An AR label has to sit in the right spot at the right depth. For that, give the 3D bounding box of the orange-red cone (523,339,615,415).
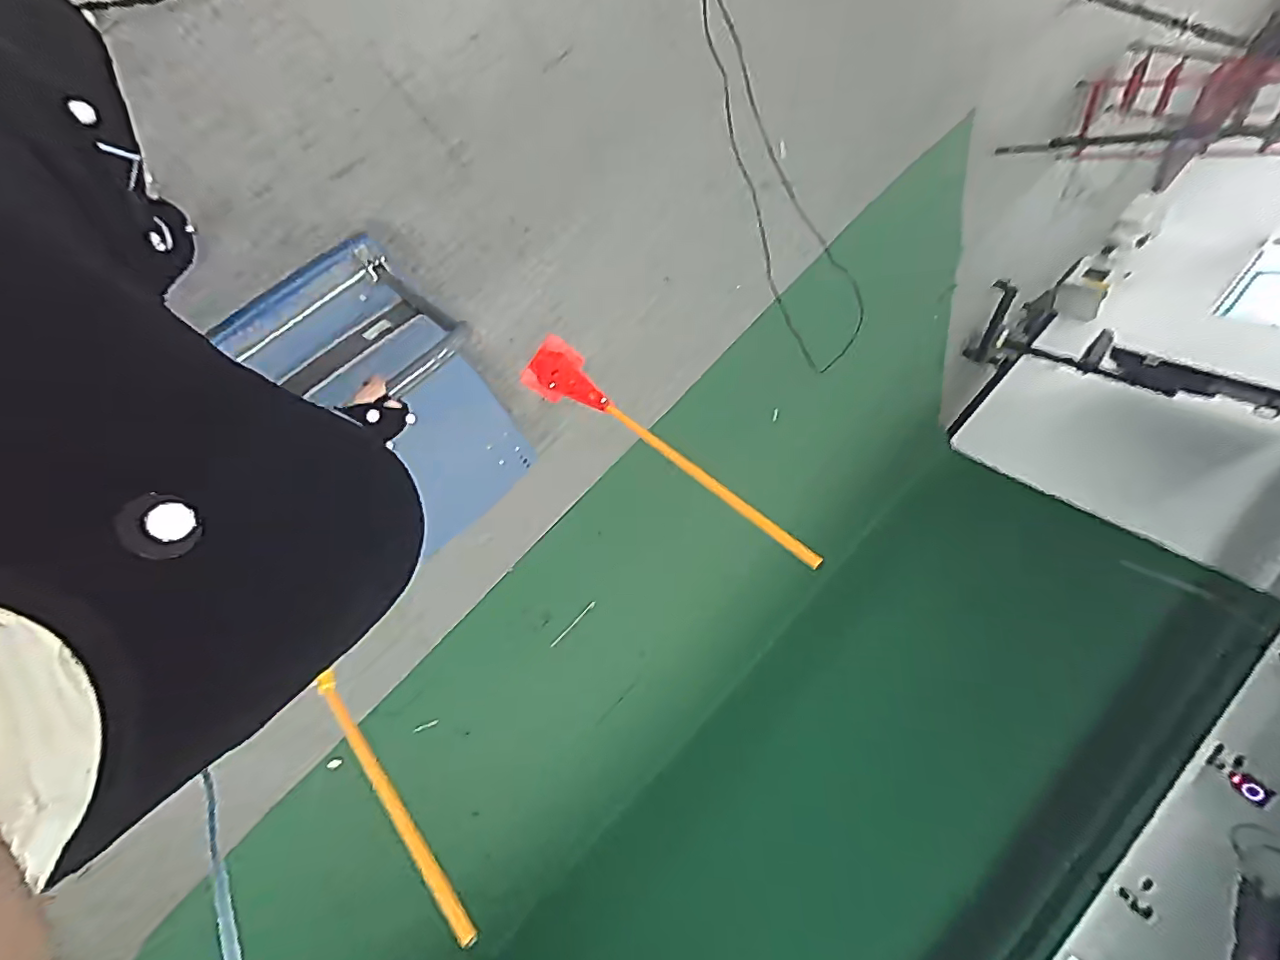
[{"bbox_3d":[-0.205,-0.310,1.855,0.199,0.360,0.198,-56,142,2],"label":"orange-red cone"}]
